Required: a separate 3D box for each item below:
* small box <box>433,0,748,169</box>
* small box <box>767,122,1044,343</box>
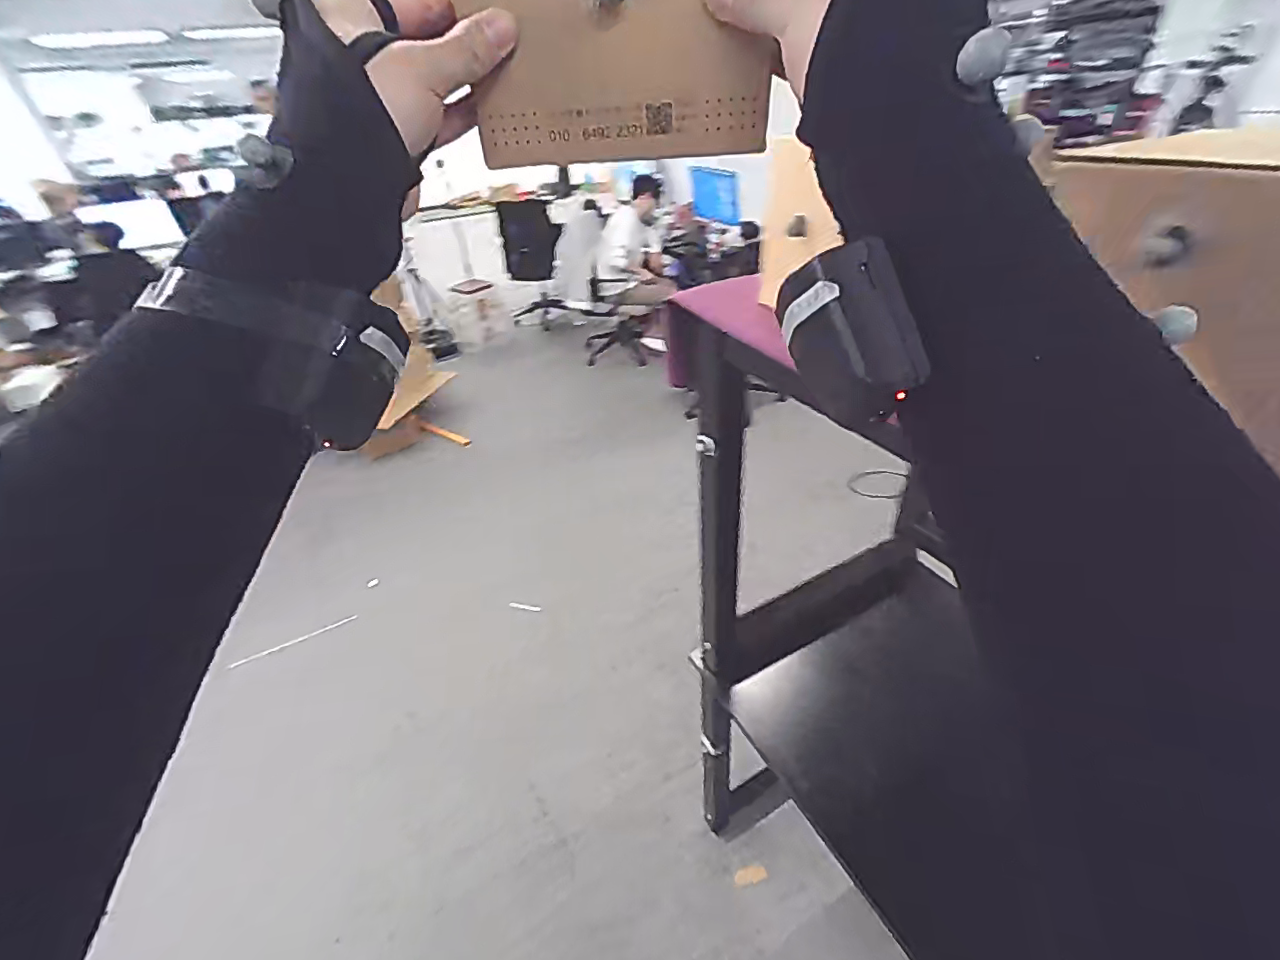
[{"bbox_3d":[-0.022,-0.298,0.332,0.168,0.176,0.179,-1,38,5],"label":"small box"},{"bbox_3d":[0.243,-0.249,0.542,0.179,0.176,0.168,-17,37,-18],"label":"small box"}]
